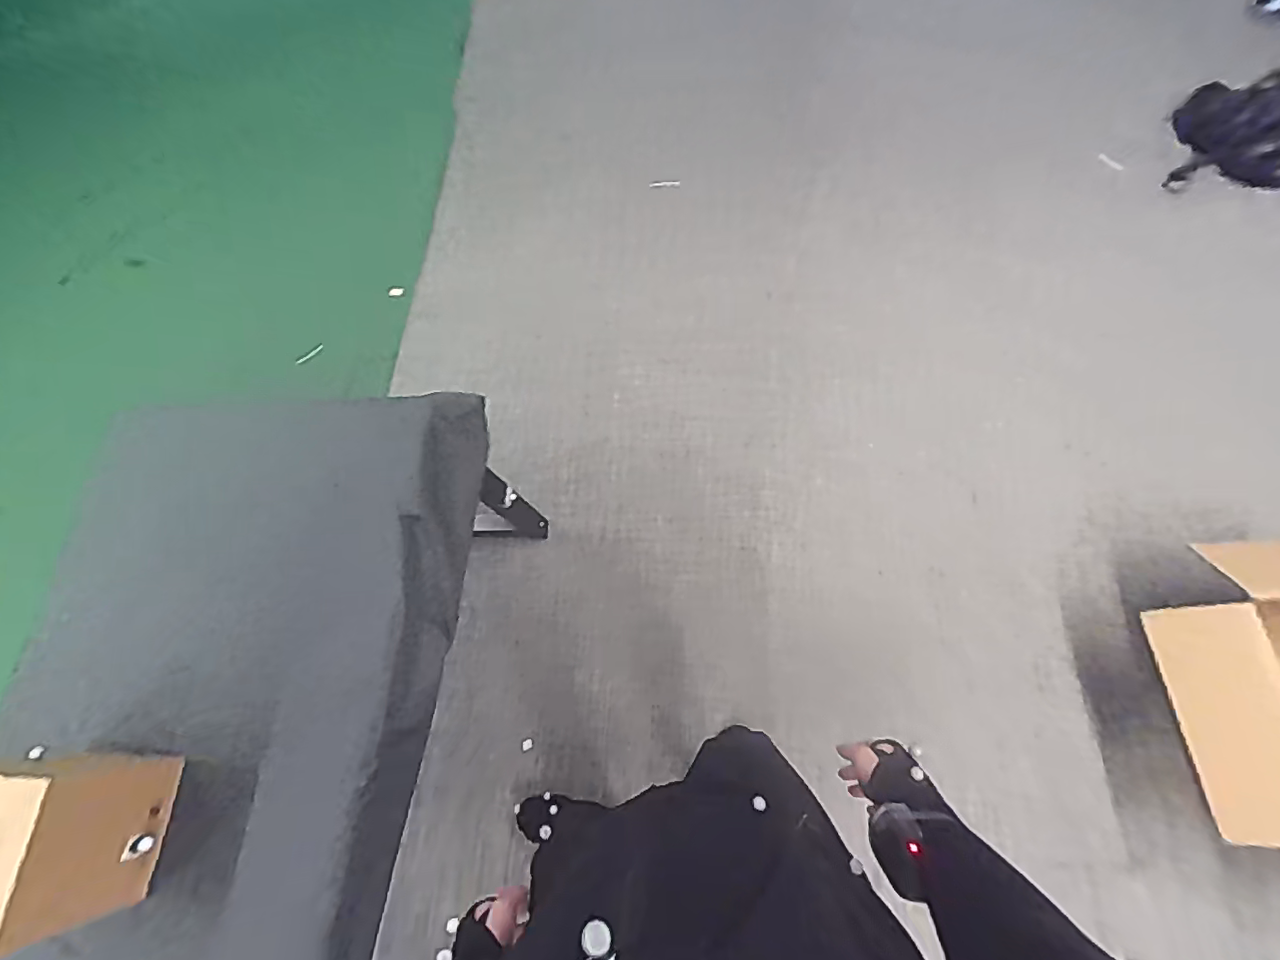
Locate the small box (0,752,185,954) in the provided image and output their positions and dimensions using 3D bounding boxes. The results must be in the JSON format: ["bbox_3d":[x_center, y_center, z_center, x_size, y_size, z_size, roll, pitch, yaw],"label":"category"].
[{"bbox_3d":[-0.719,0.432,0.652,0.179,0.176,0.168,-1,72,7],"label":"small box"}]
